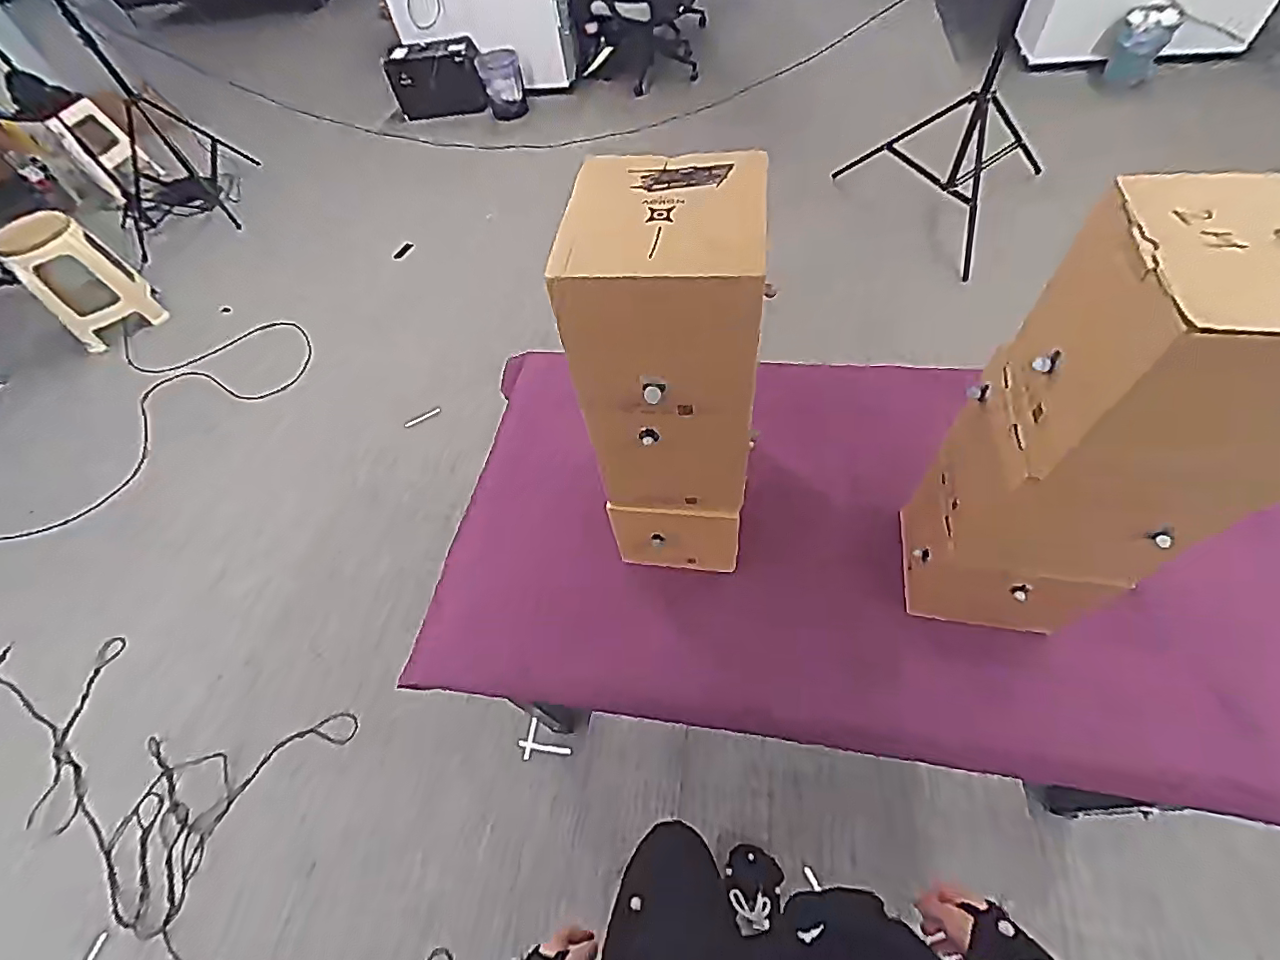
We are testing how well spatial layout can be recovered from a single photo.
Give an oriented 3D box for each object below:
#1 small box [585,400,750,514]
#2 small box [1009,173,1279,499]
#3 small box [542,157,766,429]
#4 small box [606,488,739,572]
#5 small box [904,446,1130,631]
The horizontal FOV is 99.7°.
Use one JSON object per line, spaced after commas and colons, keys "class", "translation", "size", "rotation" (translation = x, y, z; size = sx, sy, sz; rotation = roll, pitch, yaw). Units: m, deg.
{"class": "small box", "translation": [0.043, -0.080, 0.641], "size": [0.168, 0.176, 0.179], "rotation": [2, 55, 9]}
{"class": "small box", "translation": [0.420, -0.100, 0.405], "size": [0.179, 0.176, 0.168], "rotation": [6, 57, 11]}
{"class": "small box", "translation": [0.025, -0.170, 0.504], "size": [0.168, 0.176, 0.179], "rotation": [3, 57, 10]}
{"class": "small box", "translation": [0.058, 0.018, 0.772], "size": [0.168, 0.176, 0.179], "rotation": [3, 56, 10]}
{"class": "small box", "translation": [0.446, 0.078, 0.681], "size": [0.179, 0.176, 0.168], "rotation": [6, 58, 11]}
